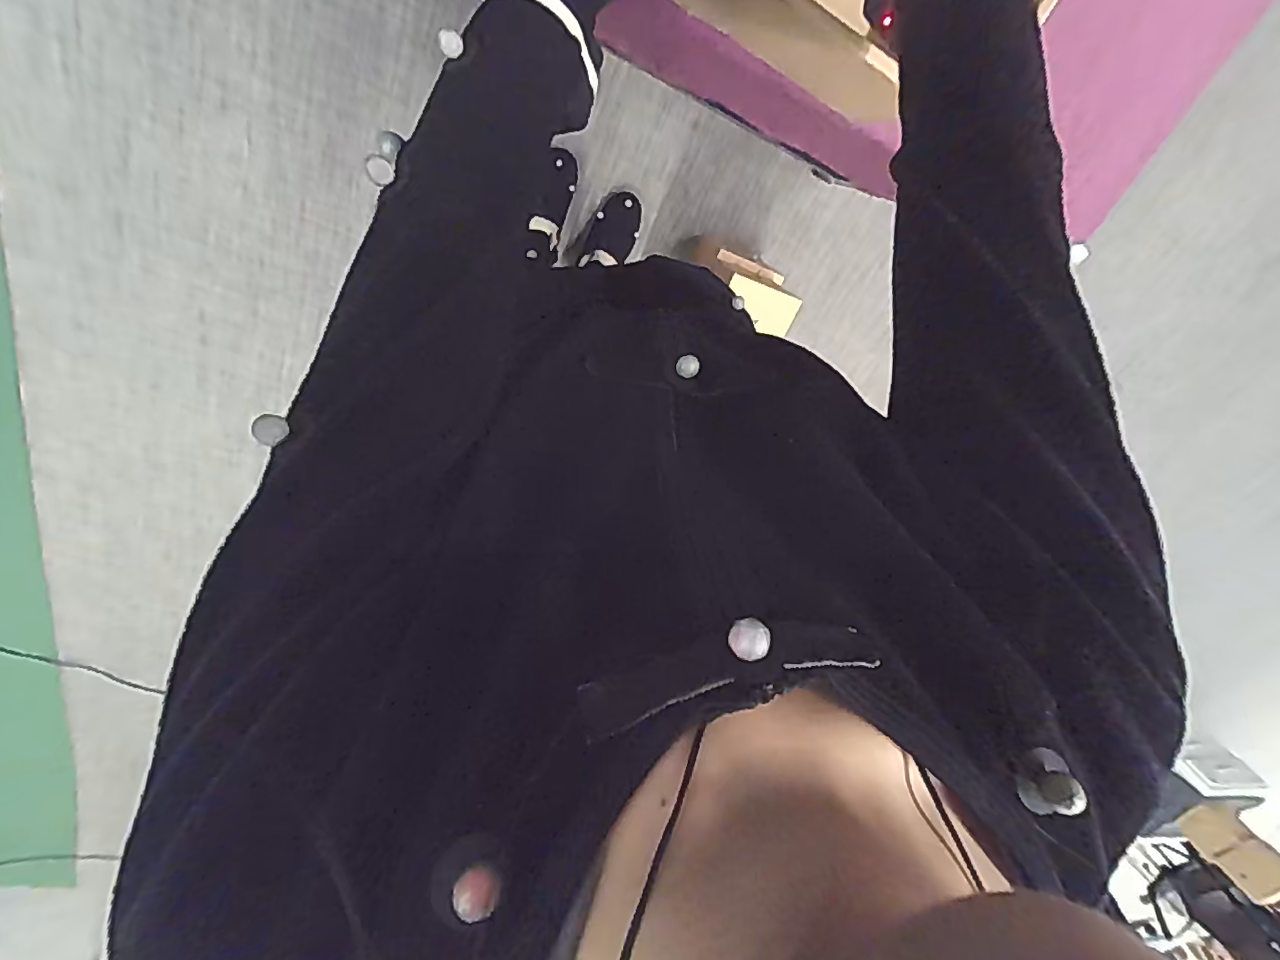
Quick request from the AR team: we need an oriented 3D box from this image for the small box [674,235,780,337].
[{"bbox_3d":[0.204,-0.479,1.323,0.179,0.176,0.168,15,120,-19],"label":"small box"}]
